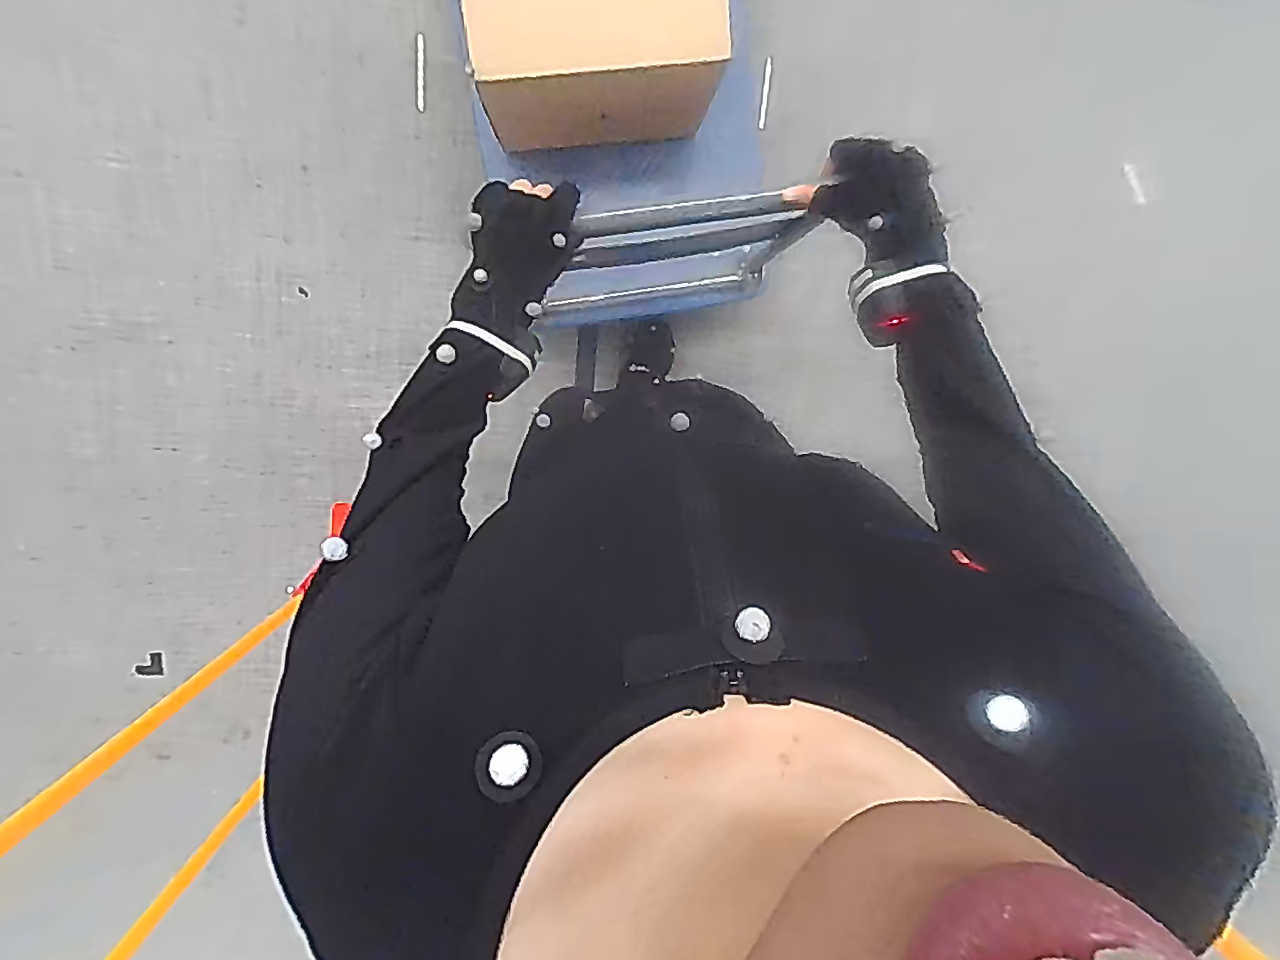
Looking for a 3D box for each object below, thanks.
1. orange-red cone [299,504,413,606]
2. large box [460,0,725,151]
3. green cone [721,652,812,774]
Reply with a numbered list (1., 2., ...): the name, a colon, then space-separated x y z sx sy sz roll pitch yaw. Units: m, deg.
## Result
1. orange-red cone: -0.703 0.204 1.283 0.198 0.360 0.199 11 100 -8
2. large box: -0.088 -0.819 0.954 0.408 0.320 0.320 -8 103 -2
3. green cone: 0.370 0.654 1.471 0.202 0.368 0.200 7 102 -7
